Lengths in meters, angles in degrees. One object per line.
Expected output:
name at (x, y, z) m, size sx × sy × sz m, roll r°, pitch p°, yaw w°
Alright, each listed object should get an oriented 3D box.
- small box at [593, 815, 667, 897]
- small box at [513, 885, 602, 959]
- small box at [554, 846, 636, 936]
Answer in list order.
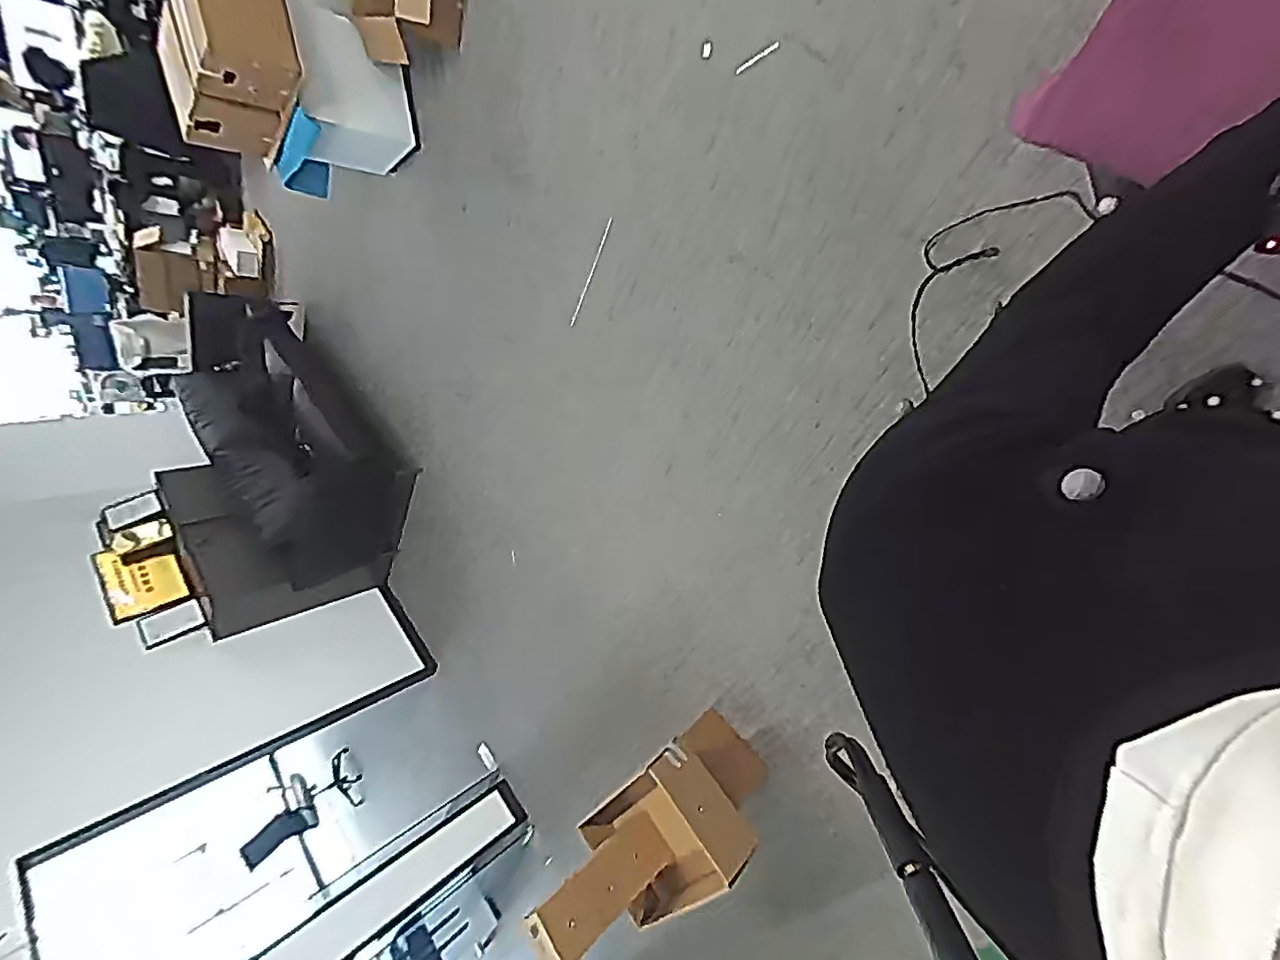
small box at (-0.036, 1.323, 1.892) m, size 0.179 × 0.176 × 0.168 m, roll 51°, pitch 128°, yaw 20°
small box at (-0.251, 1.383, 1.650) m, size 0.179 × 0.176 × 0.168 m, roll 49°, pitch 127°, yaw 20°
small box at (-0.144, 1.354, 1.772) m, size 0.179 × 0.176 × 0.168 m, roll 49°, pitch 126°, yaw 20°
